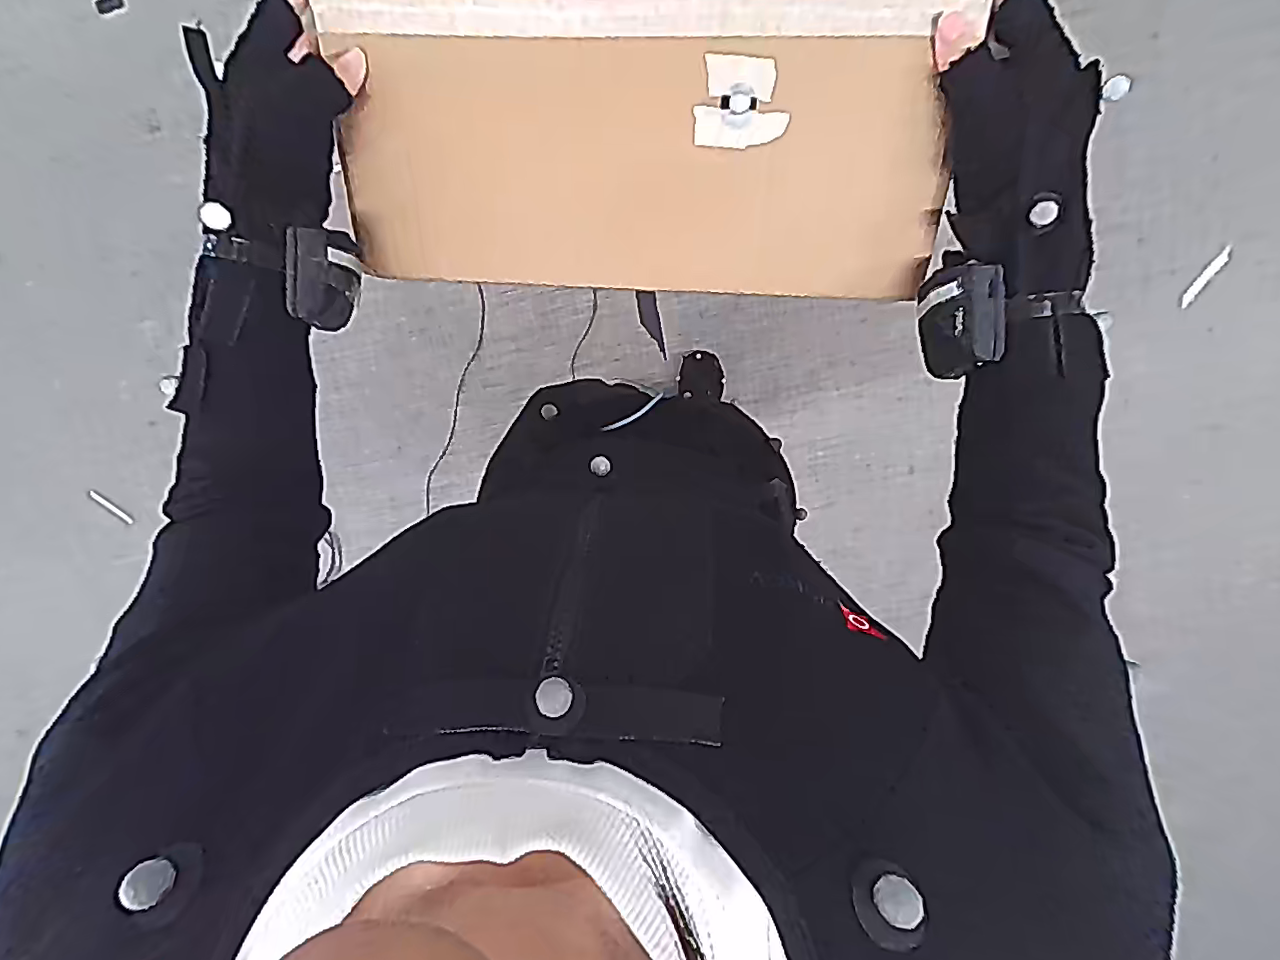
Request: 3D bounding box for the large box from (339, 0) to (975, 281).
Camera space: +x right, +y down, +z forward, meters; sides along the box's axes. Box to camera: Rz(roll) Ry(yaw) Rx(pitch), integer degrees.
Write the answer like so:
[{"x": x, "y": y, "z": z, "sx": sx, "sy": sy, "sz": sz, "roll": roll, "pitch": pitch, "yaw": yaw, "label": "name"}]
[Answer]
[{"x": 0.013, "y": -0.353, "z": 0.471, "sx": 0.408, "sy": 0.320, "sz": 0.320, "roll": 3, "pitch": 116, "yaw": 4, "label": "large box"}]
